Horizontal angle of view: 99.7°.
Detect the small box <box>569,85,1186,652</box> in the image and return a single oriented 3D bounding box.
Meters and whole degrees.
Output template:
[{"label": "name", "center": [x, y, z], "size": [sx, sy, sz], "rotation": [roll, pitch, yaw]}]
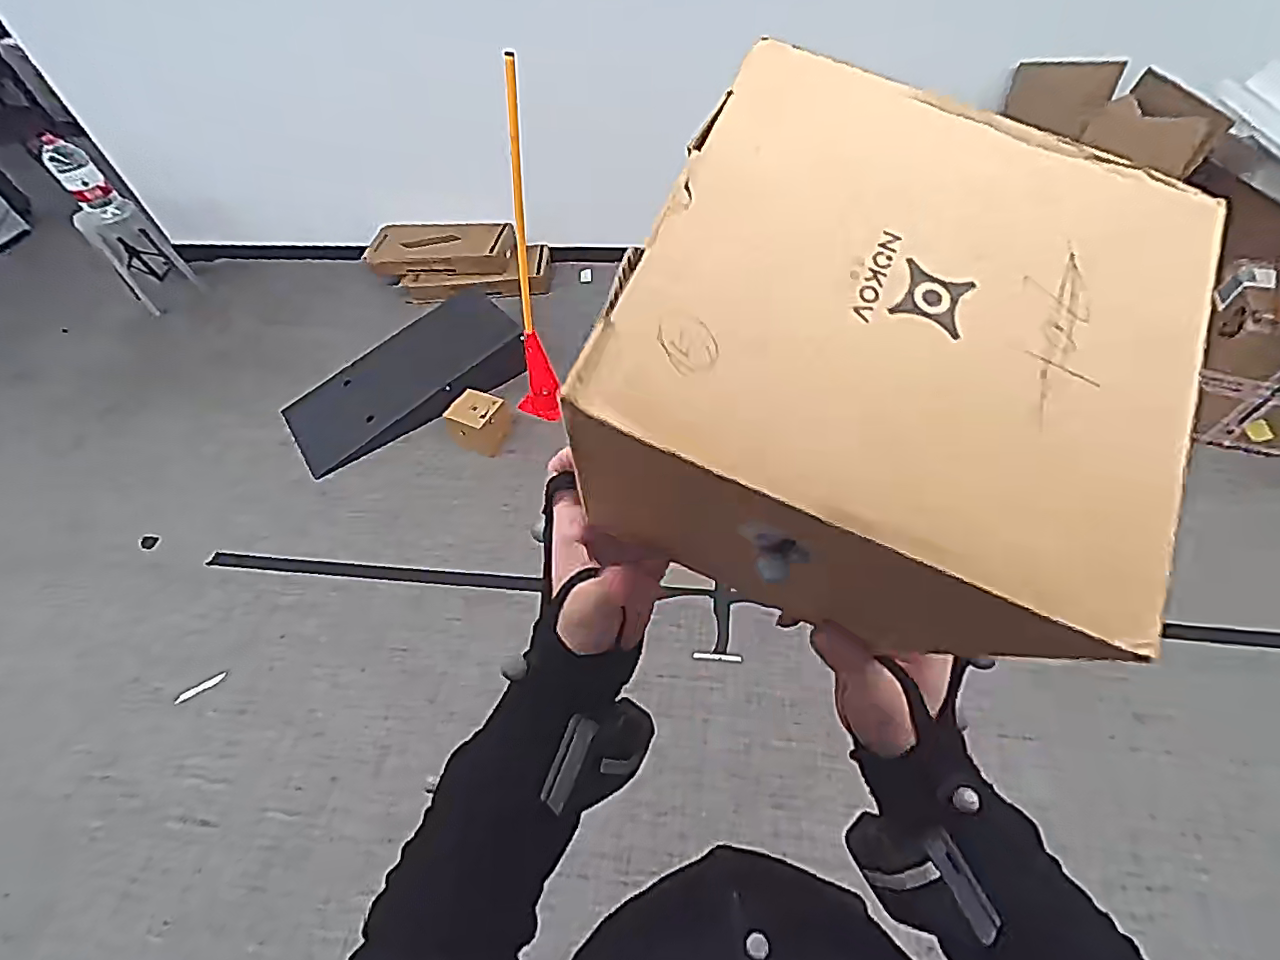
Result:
[{"label": "small box", "center": [0.085, -0.029, 0.260], "size": [0.179, 0.176, 0.168], "rotation": [23, 75, 5]}]
